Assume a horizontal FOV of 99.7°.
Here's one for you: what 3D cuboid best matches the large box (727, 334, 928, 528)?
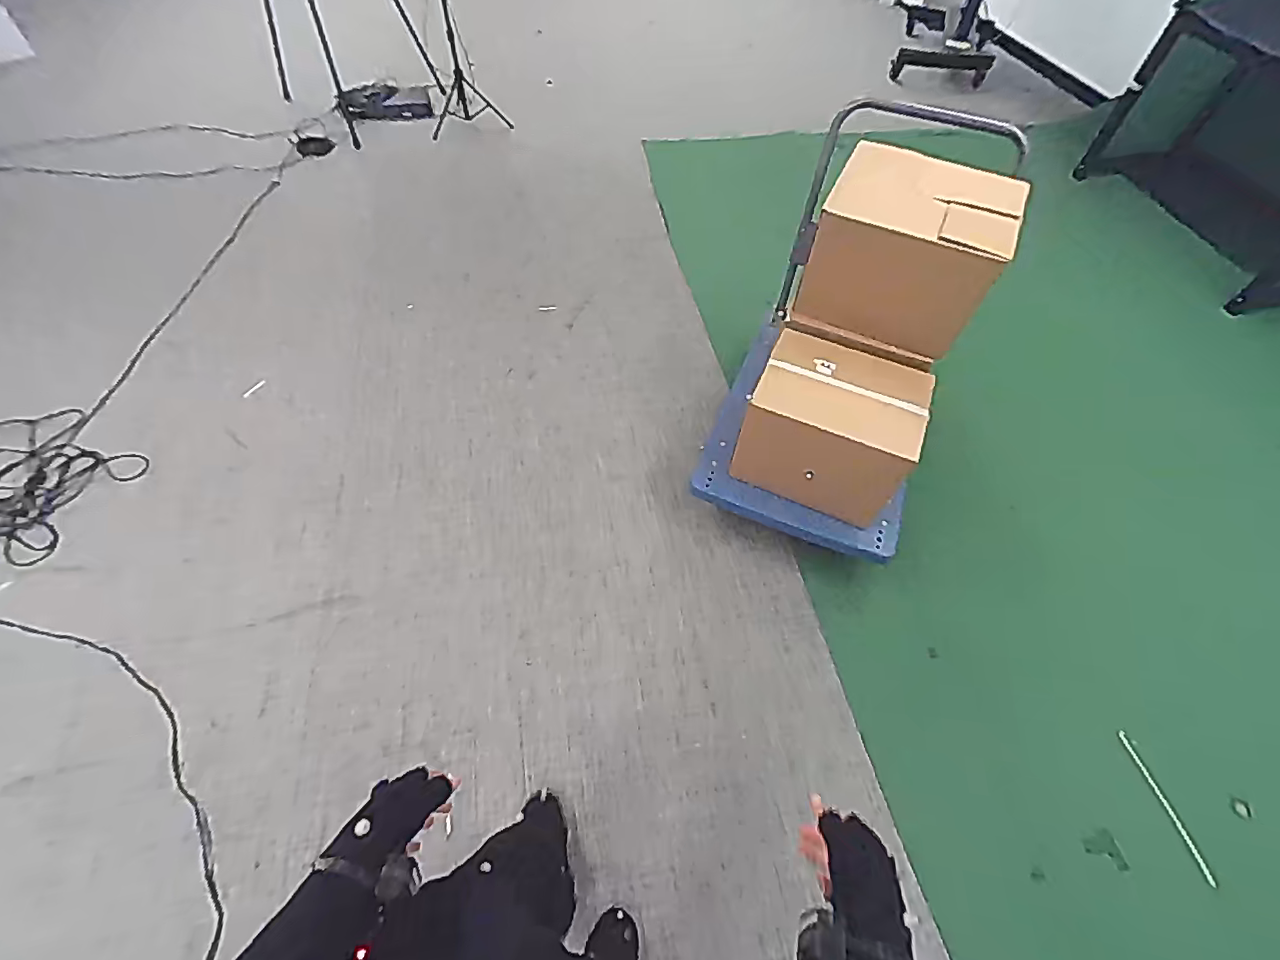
[{"bbox_3d":[0.490,-0.129,1.456,0.408,0.320,0.320,22,57,13],"label":"large box"}]
